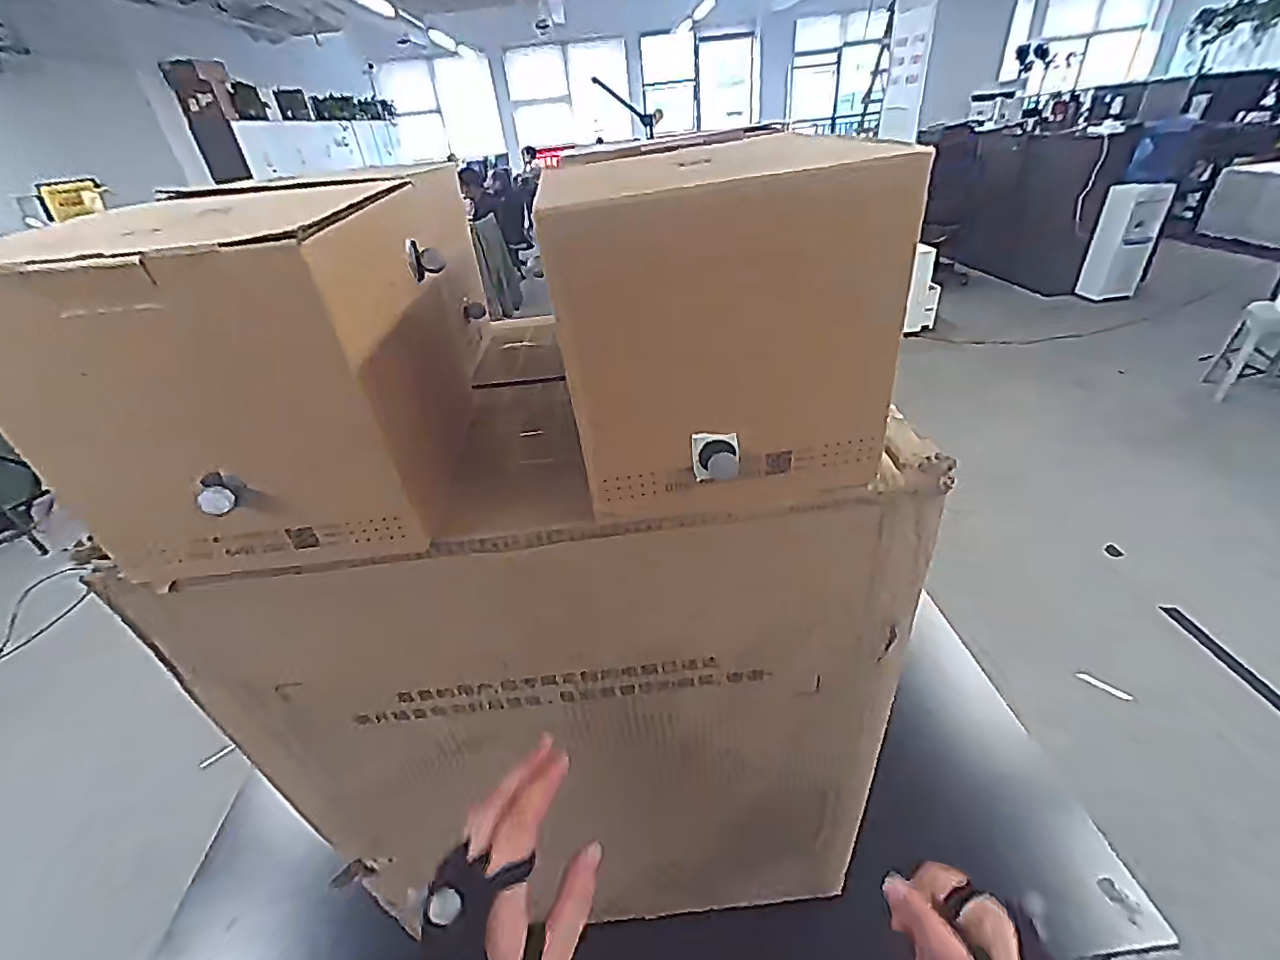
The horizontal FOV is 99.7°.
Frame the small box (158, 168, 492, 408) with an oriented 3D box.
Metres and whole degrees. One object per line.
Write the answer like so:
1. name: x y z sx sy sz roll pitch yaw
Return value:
1. small box: -0.250 -0.173 0.485 0.179 0.176 0.168 -5 33 -1
